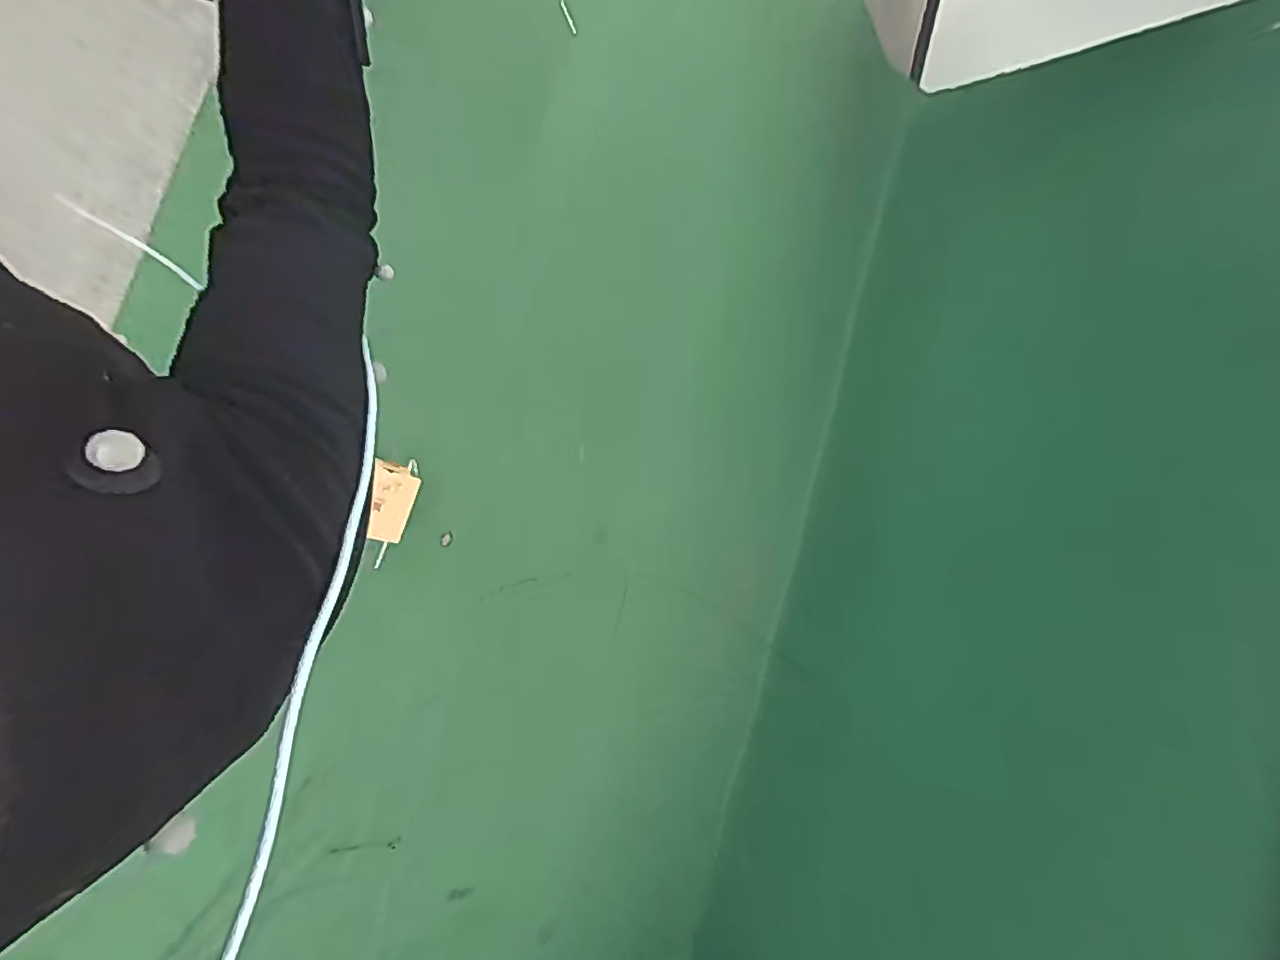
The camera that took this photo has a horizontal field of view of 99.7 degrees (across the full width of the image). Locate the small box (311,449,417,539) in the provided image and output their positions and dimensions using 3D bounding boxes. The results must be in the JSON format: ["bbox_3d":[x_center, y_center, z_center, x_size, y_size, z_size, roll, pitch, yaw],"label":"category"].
[{"bbox_3d":[-0.702,0.034,1.365,0.168,0.176,0.179,25,80,-48],"label":"small box"}]
